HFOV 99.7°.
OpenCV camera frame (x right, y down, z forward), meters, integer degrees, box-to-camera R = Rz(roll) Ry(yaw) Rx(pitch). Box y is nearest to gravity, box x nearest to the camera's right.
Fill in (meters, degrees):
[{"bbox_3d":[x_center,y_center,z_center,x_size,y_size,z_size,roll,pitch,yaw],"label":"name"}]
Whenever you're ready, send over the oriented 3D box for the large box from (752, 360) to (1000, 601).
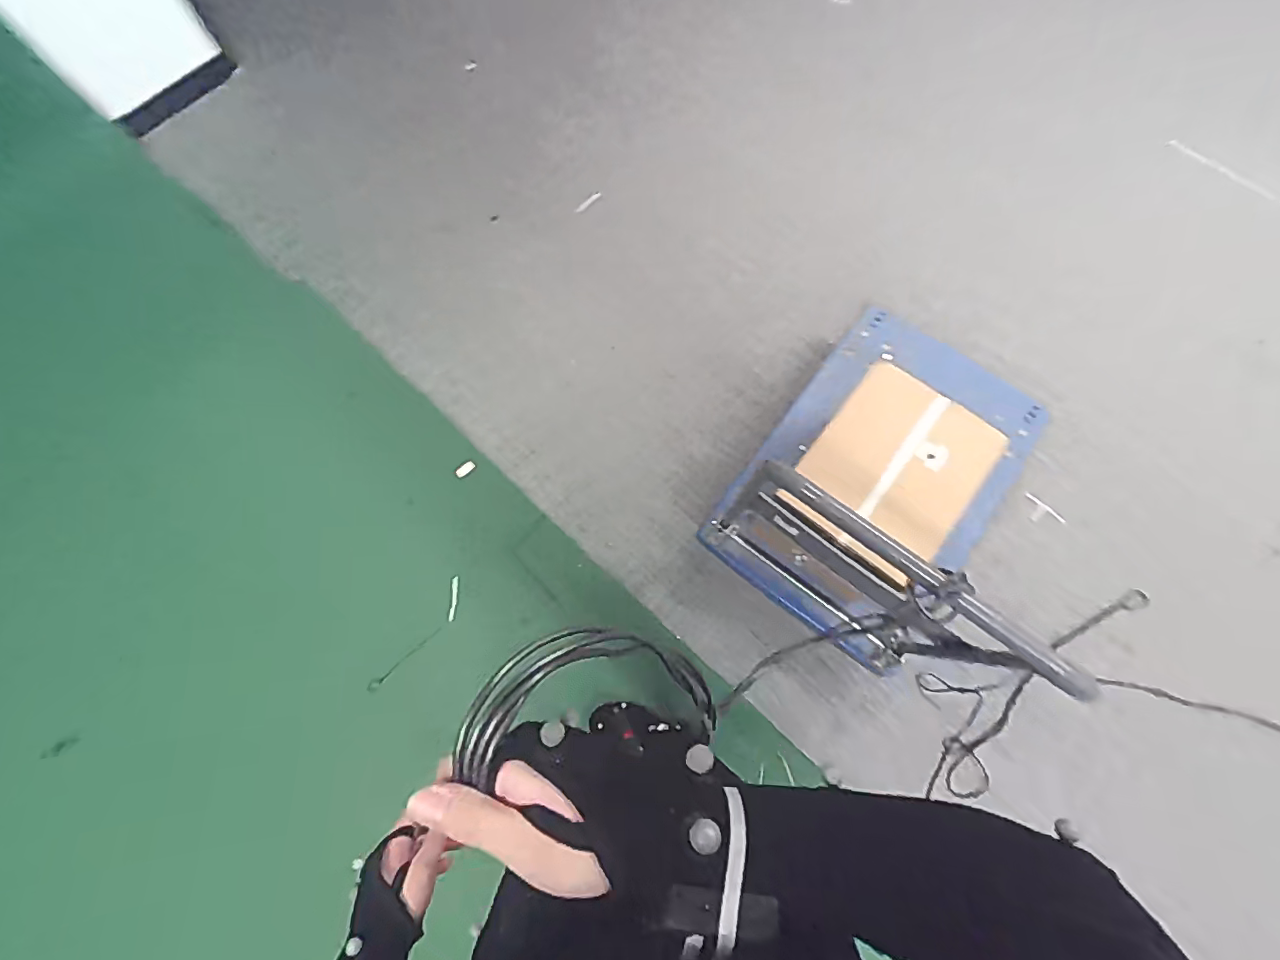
[{"bbox_3d":[0.516,0.017,1.251,0.320,0.320,0.408,37,76,11],"label":"large box"}]
